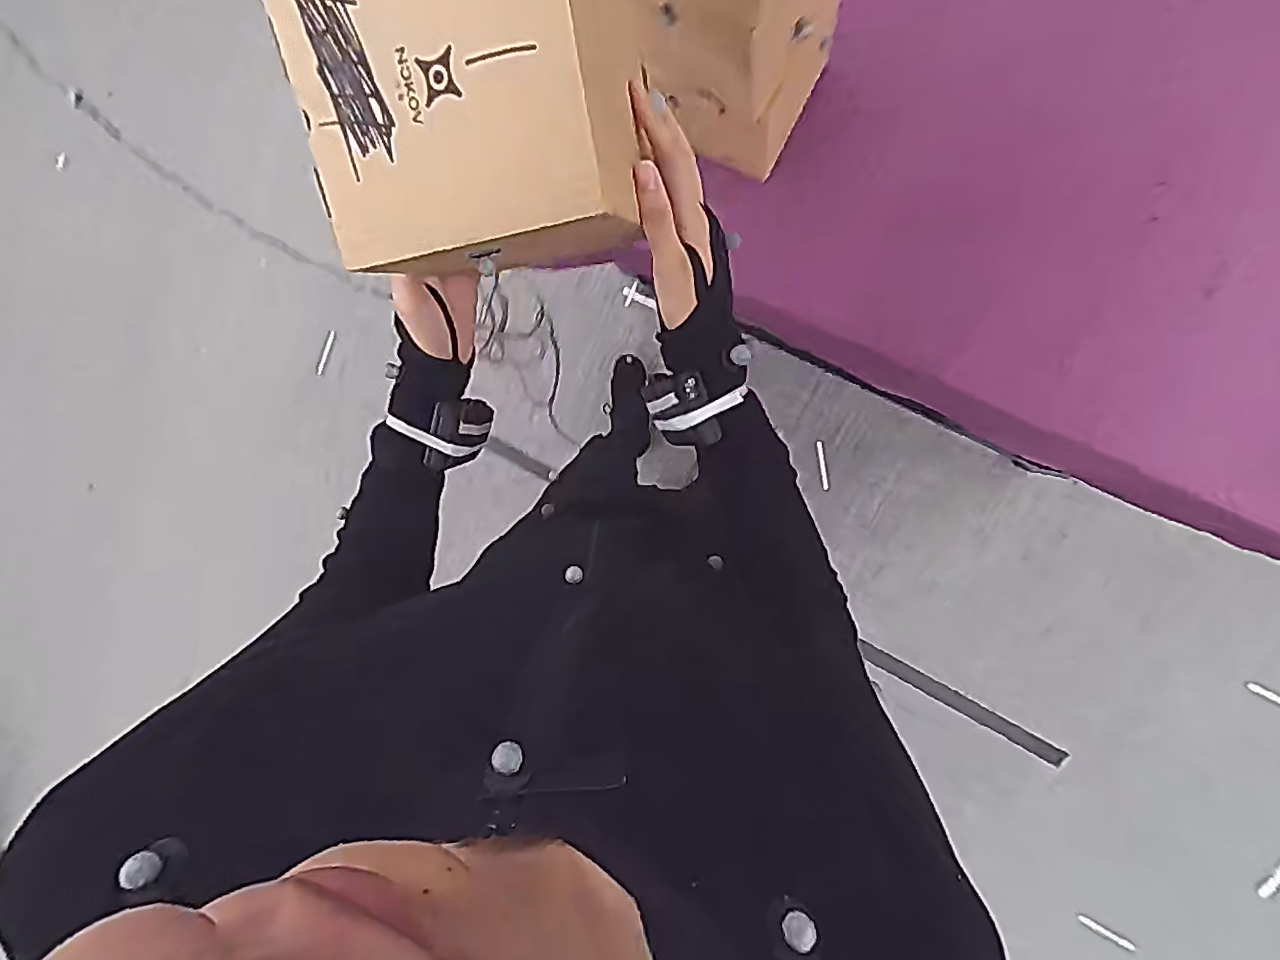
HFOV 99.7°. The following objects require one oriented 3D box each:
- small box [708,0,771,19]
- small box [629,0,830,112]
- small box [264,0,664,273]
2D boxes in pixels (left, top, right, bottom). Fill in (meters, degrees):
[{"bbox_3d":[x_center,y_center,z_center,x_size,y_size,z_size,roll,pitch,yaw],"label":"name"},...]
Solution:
[{"bbox_3d":[0.059,-0.504,0.397,0.168,0.176,0.179,29,101,7],"label":"small box"},{"bbox_3d":[0.092,-0.529,0.554,0.179,0.176,0.168,35,103,5],"label":"small box"},{"bbox_3d":[-0.094,-0.240,0.363,0.179,0.176,0.168,-5,108,16],"label":"small box"}]
